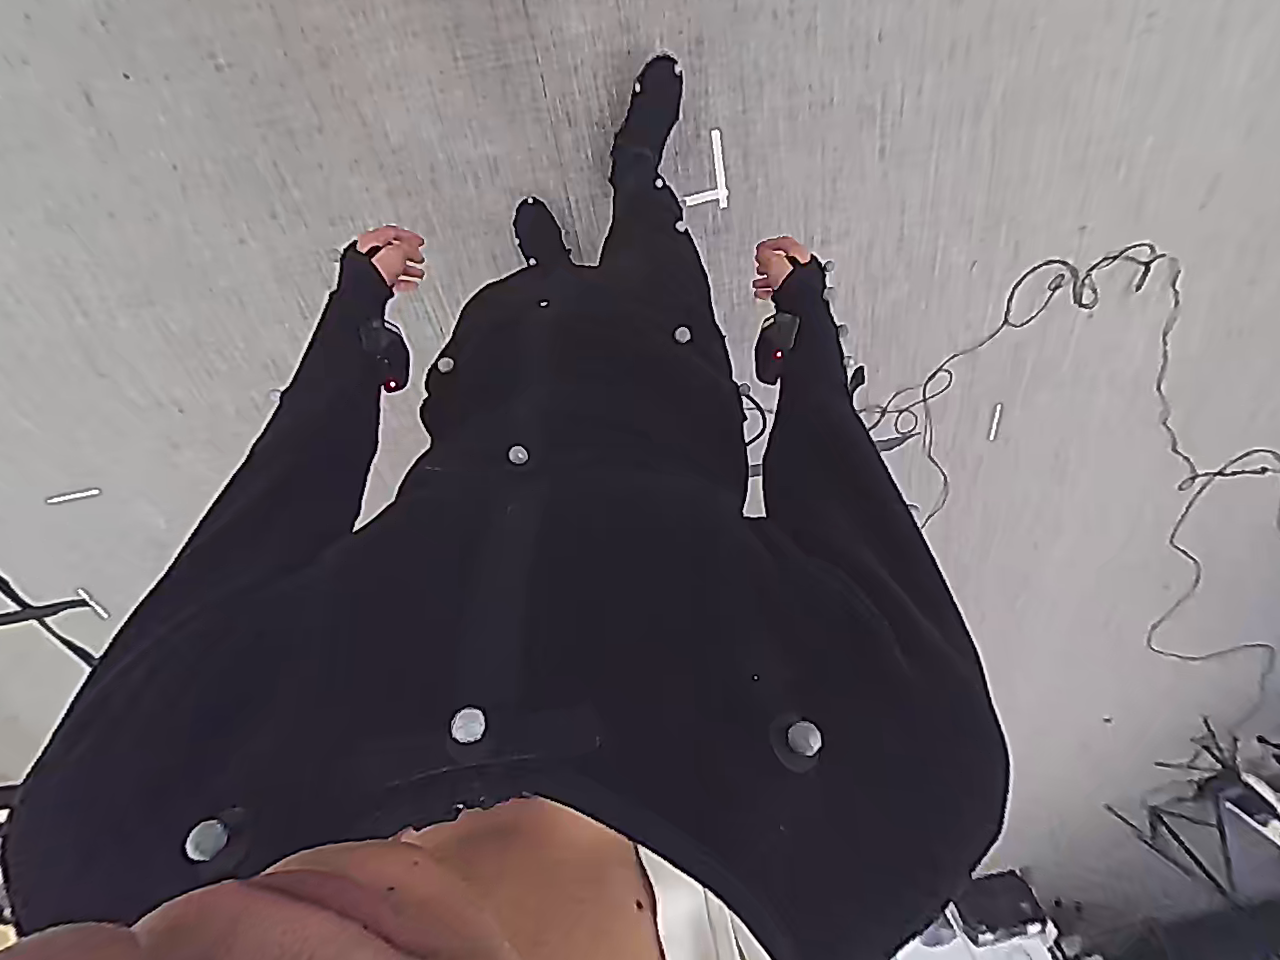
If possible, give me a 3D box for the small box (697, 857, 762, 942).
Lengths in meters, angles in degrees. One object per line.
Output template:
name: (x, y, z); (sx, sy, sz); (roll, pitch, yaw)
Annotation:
small box: (0.291, 1.377, 1.777); (0.179, 0.176, 0.168); (-13, 125, 2)
